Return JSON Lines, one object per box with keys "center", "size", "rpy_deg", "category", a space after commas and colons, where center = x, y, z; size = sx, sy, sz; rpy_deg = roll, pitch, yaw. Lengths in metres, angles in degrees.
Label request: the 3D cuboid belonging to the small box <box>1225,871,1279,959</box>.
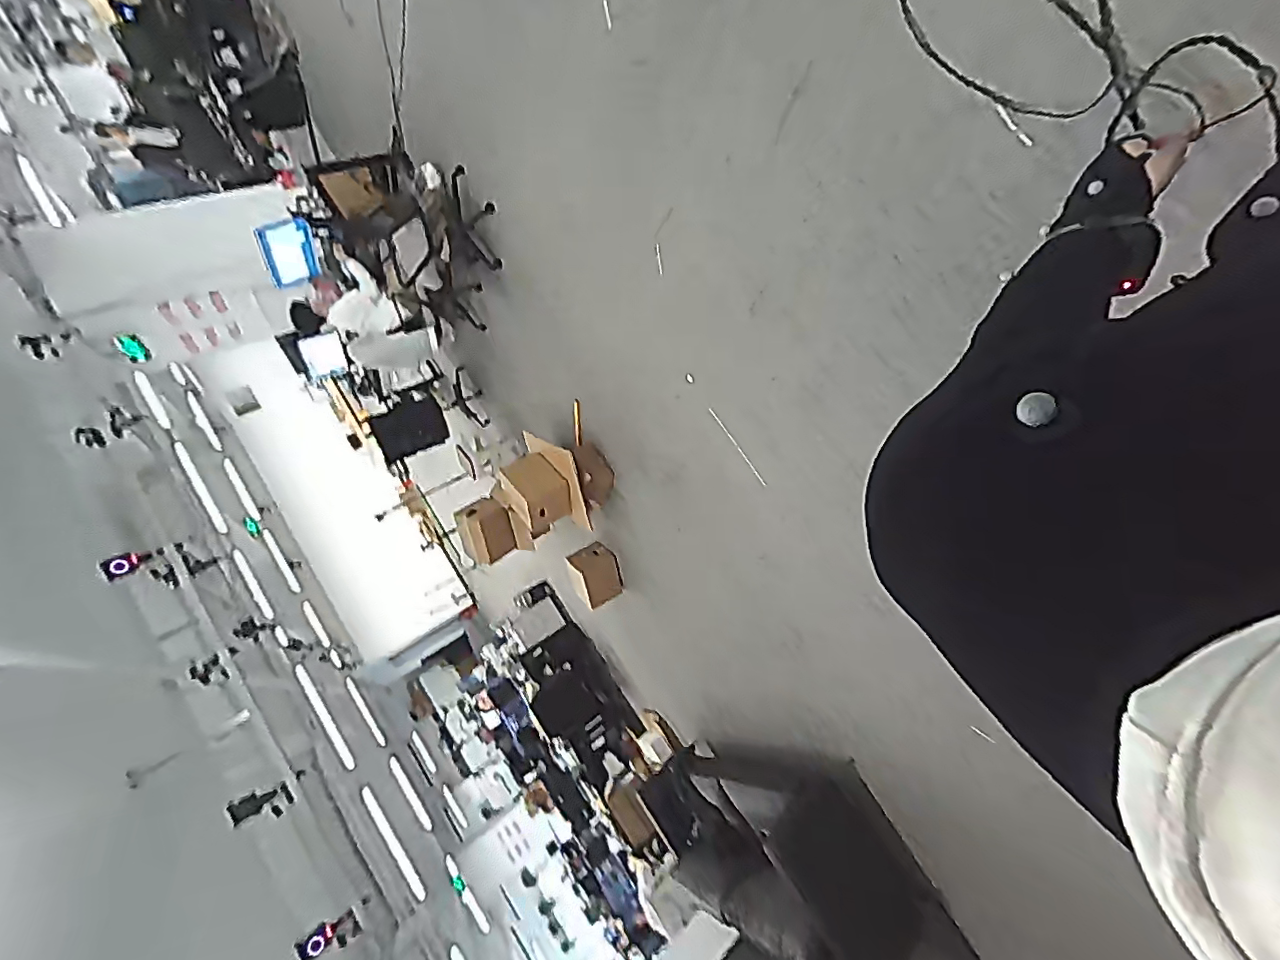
{"center": [0.907, 0.640, 0.679], "size": [0.168, 0.176, 0.179], "rpy_deg": [56, 150, 7], "category": "small box"}
